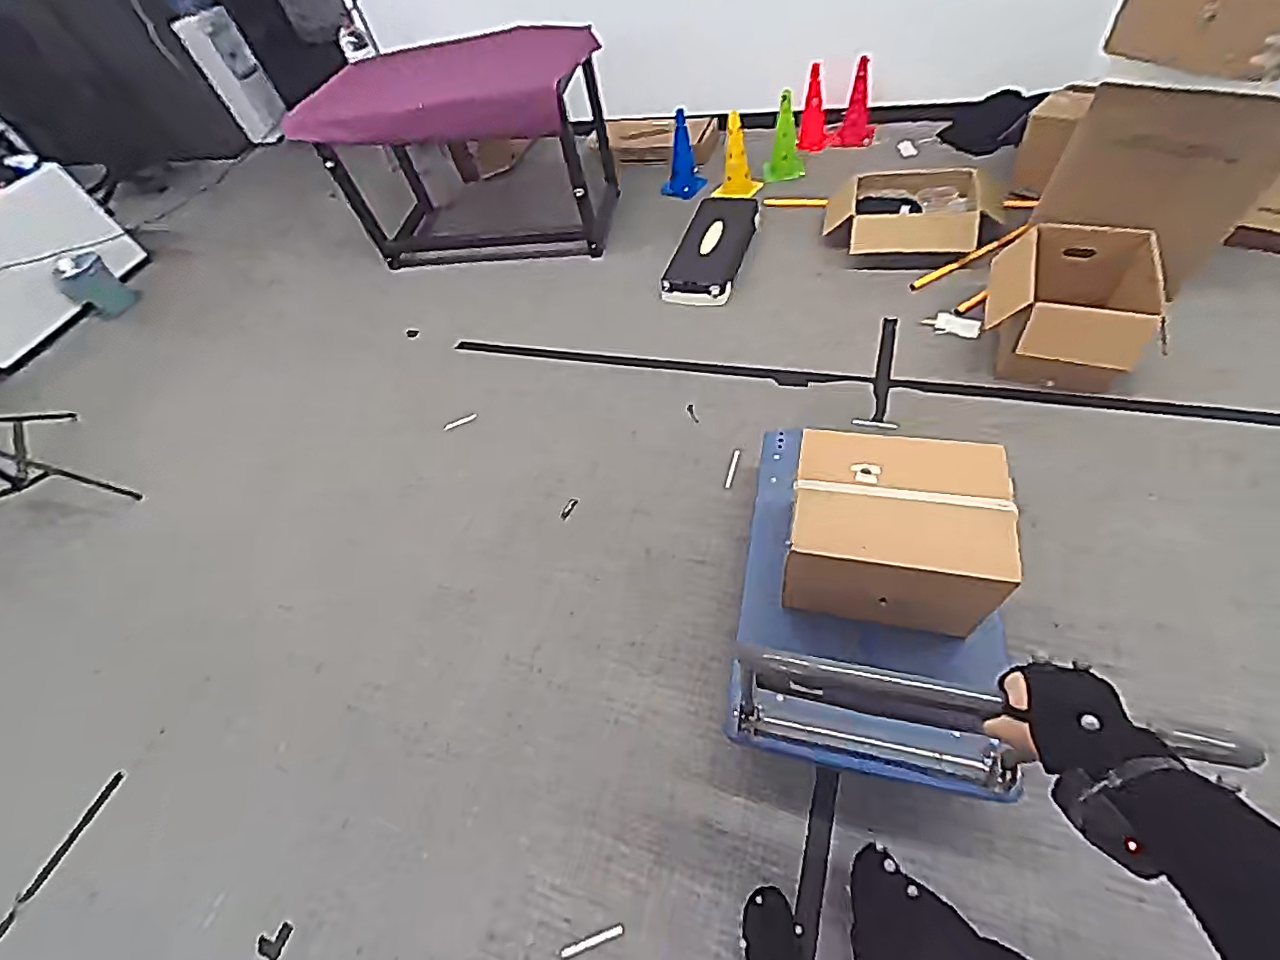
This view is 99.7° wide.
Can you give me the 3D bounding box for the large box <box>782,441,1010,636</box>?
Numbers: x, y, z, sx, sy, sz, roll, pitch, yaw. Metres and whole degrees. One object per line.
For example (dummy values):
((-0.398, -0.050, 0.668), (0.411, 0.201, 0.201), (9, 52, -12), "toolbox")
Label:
((0.549, 0.136, 1.236), (0.408, 0.320, 0.320), (6, 57, 16), "large box")
